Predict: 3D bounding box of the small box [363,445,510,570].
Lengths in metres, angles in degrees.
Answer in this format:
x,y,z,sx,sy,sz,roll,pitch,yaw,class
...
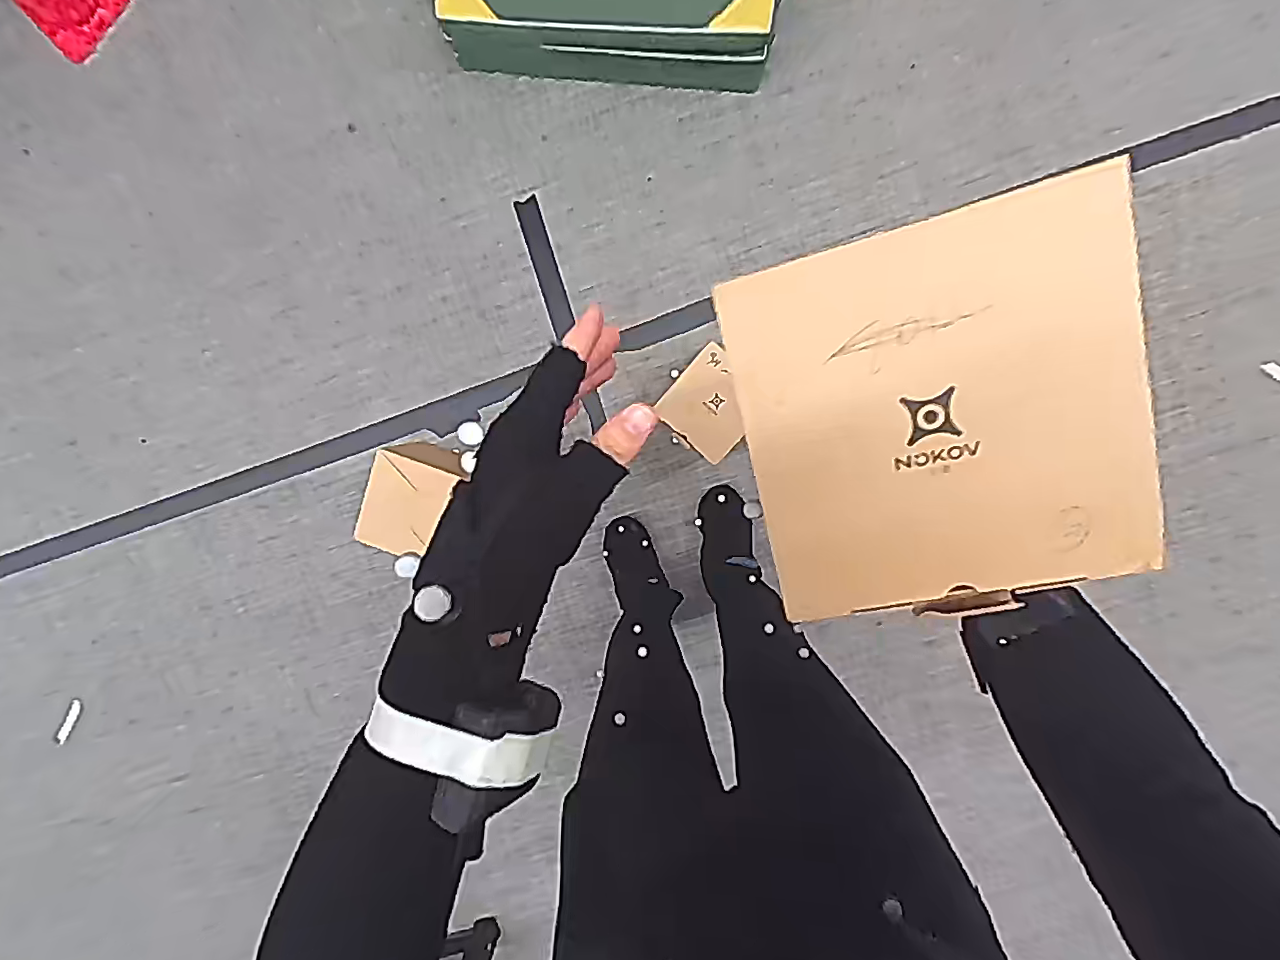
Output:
x,y,z,sx,sy,sz,roll,pitch,yaw,class
-0.361,0.045,0.978,0.179,0.176,0.168,19,99,1,small box

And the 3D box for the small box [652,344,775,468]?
x,y,z,sx,sy,sz,roll,pitch,yaw,class
0.142,-0.150,1.096,0.168,0.176,0.179,41,98,-6,small box
